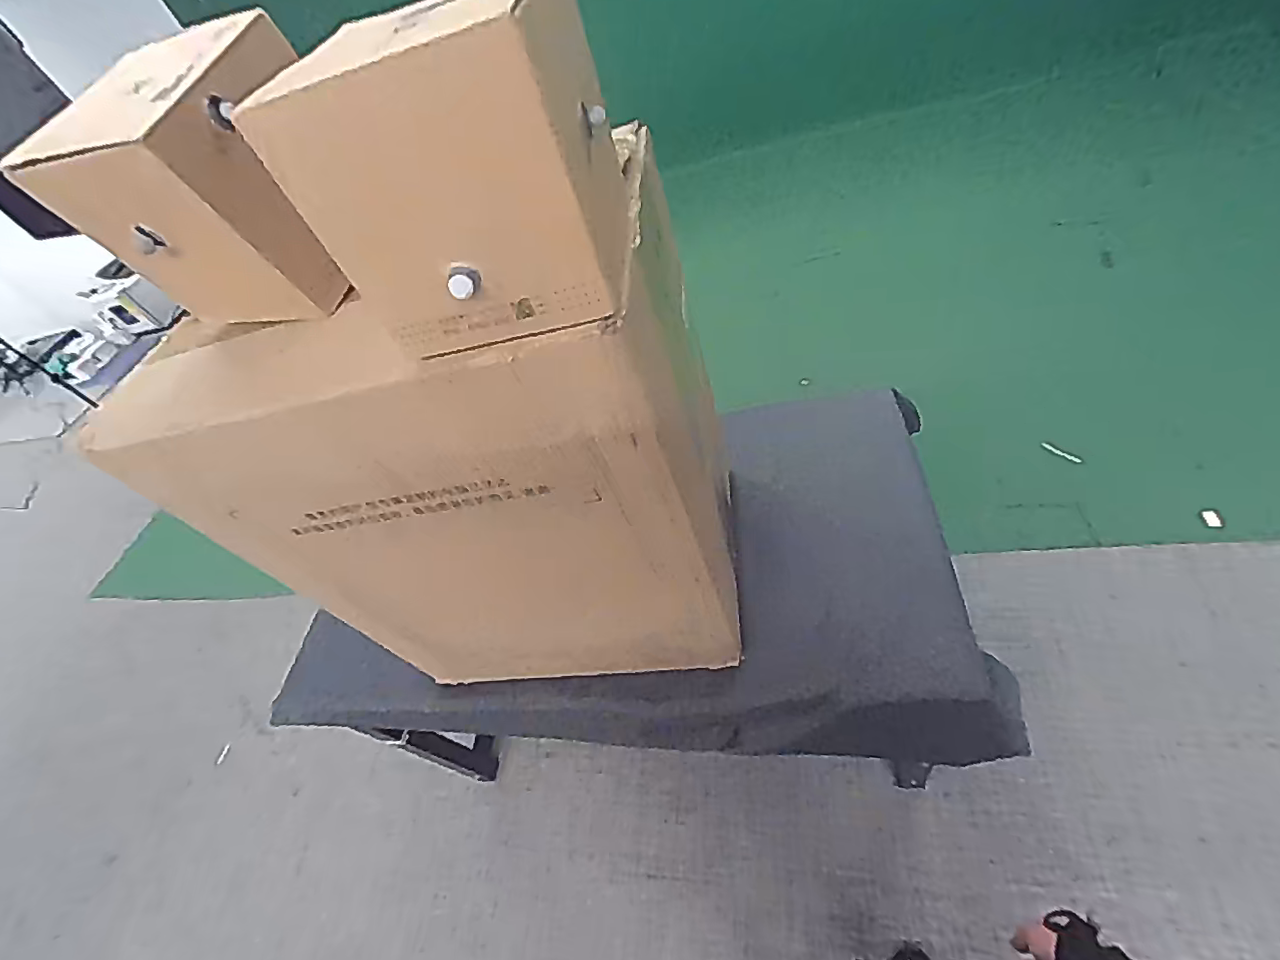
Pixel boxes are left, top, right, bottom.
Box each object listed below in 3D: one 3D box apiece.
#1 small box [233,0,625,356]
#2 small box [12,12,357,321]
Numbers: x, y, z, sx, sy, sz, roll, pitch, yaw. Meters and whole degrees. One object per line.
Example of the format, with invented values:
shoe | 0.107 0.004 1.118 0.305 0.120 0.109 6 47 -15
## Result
small box | -0.113 -0.215 0.377 0.168 0.176 0.179 -8 51 14
small box | -0.365 -0.260 0.486 0.179 0.176 0.168 4 65 21
